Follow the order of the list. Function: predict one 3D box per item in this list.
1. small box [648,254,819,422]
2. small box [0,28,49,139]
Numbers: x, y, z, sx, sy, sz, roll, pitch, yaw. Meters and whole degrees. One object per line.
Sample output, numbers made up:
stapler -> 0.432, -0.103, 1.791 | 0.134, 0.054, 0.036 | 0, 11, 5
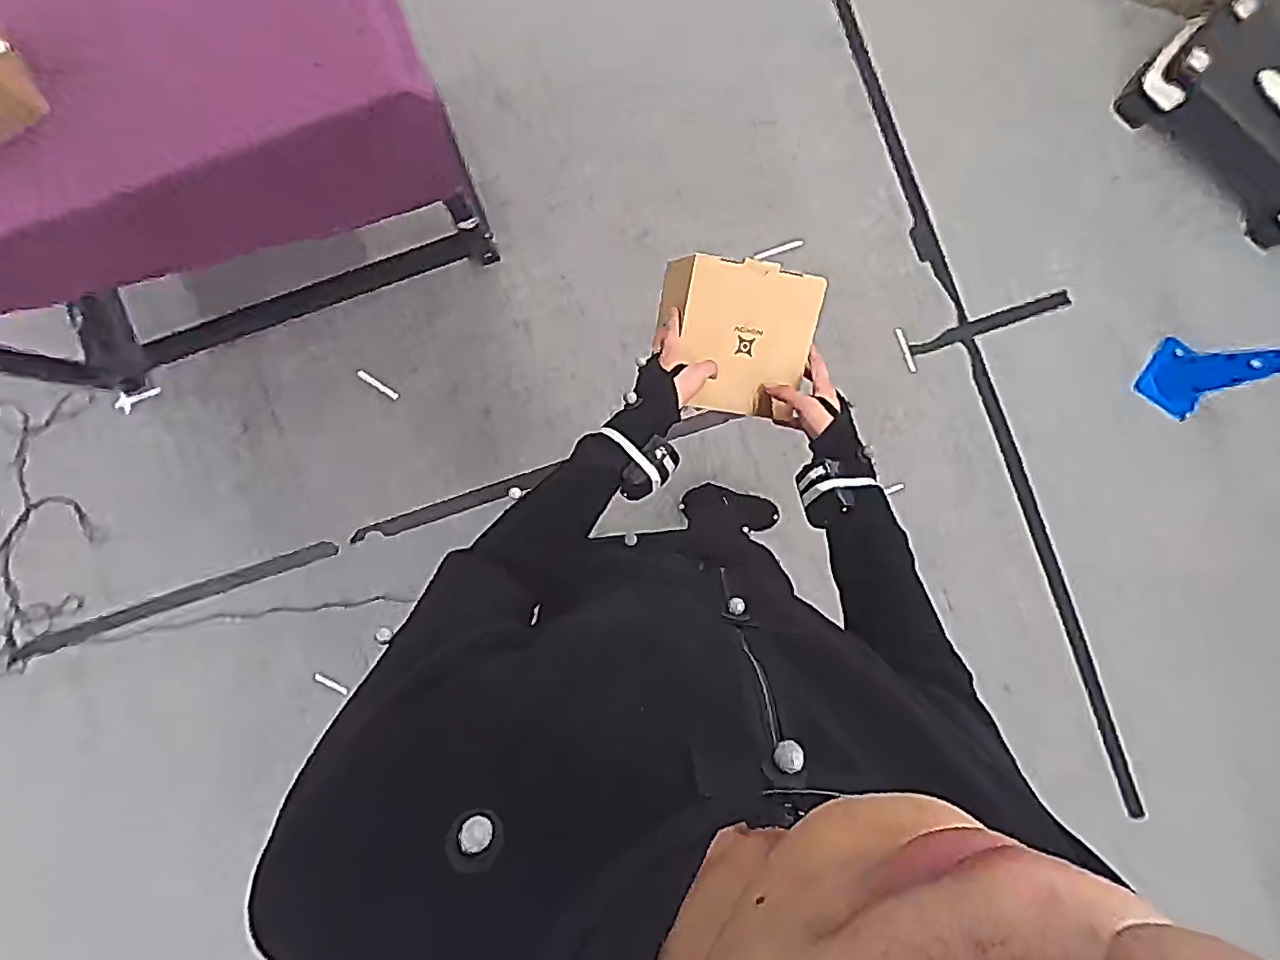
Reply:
small box -> 0.108, -0.188, 0.718 | 0.168, 0.176, 0.179 | 6, 107, -9
small box -> -1.056, -0.615, 0.788 | 0.179, 0.176, 0.168 | -31, 91, -2
